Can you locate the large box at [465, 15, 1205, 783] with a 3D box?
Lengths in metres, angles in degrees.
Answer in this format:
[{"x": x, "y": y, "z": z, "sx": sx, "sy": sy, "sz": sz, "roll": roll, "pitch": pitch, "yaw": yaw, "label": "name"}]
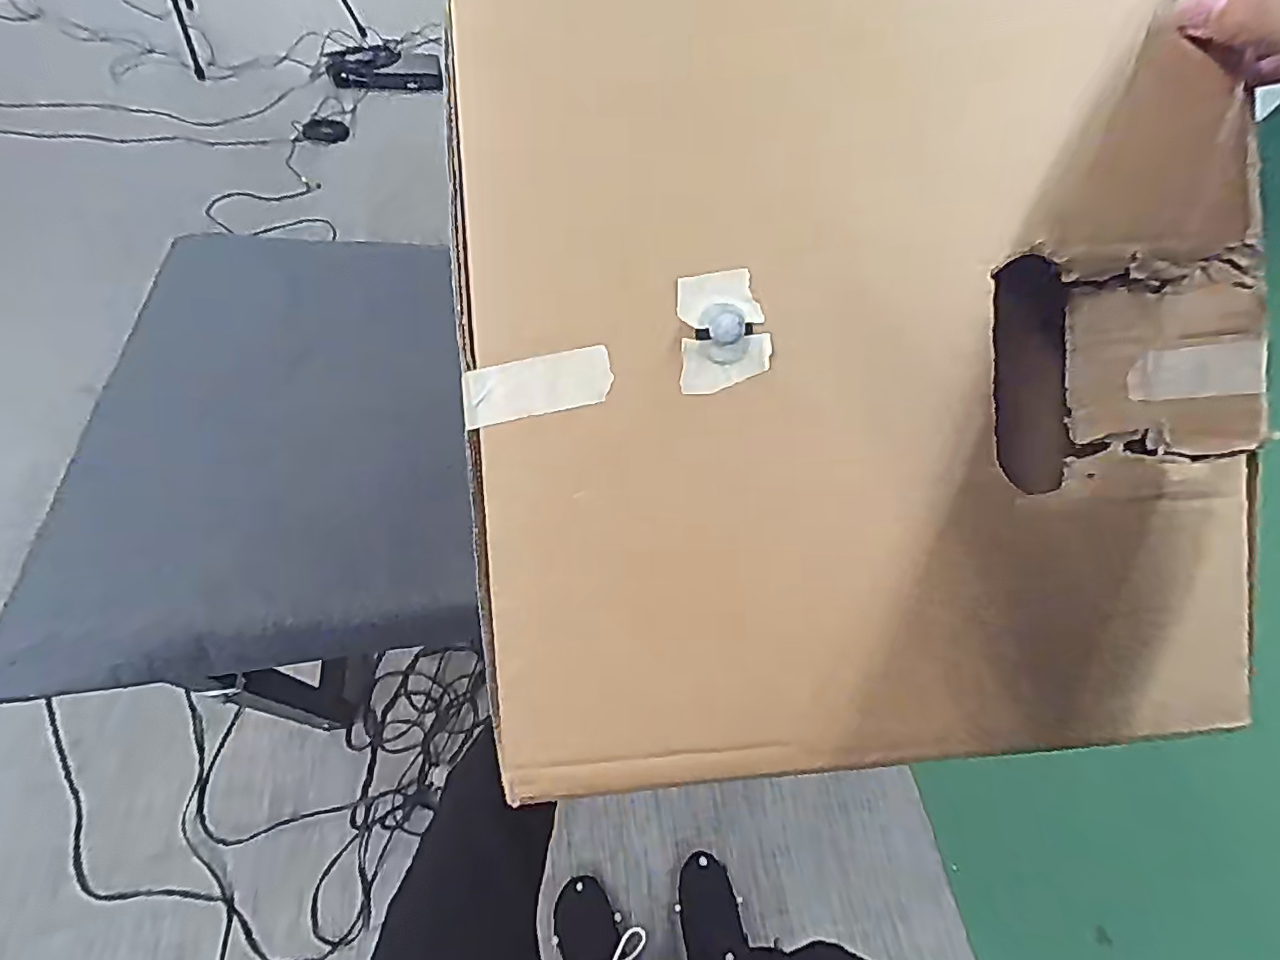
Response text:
[{"x": 0.074, "y": -0.046, "z": 0.416, "sx": 0.320, "sy": 0.408, "sz": 0.320, "roll": -3, "pitch": 93, "yaw": -5, "label": "large box"}]
